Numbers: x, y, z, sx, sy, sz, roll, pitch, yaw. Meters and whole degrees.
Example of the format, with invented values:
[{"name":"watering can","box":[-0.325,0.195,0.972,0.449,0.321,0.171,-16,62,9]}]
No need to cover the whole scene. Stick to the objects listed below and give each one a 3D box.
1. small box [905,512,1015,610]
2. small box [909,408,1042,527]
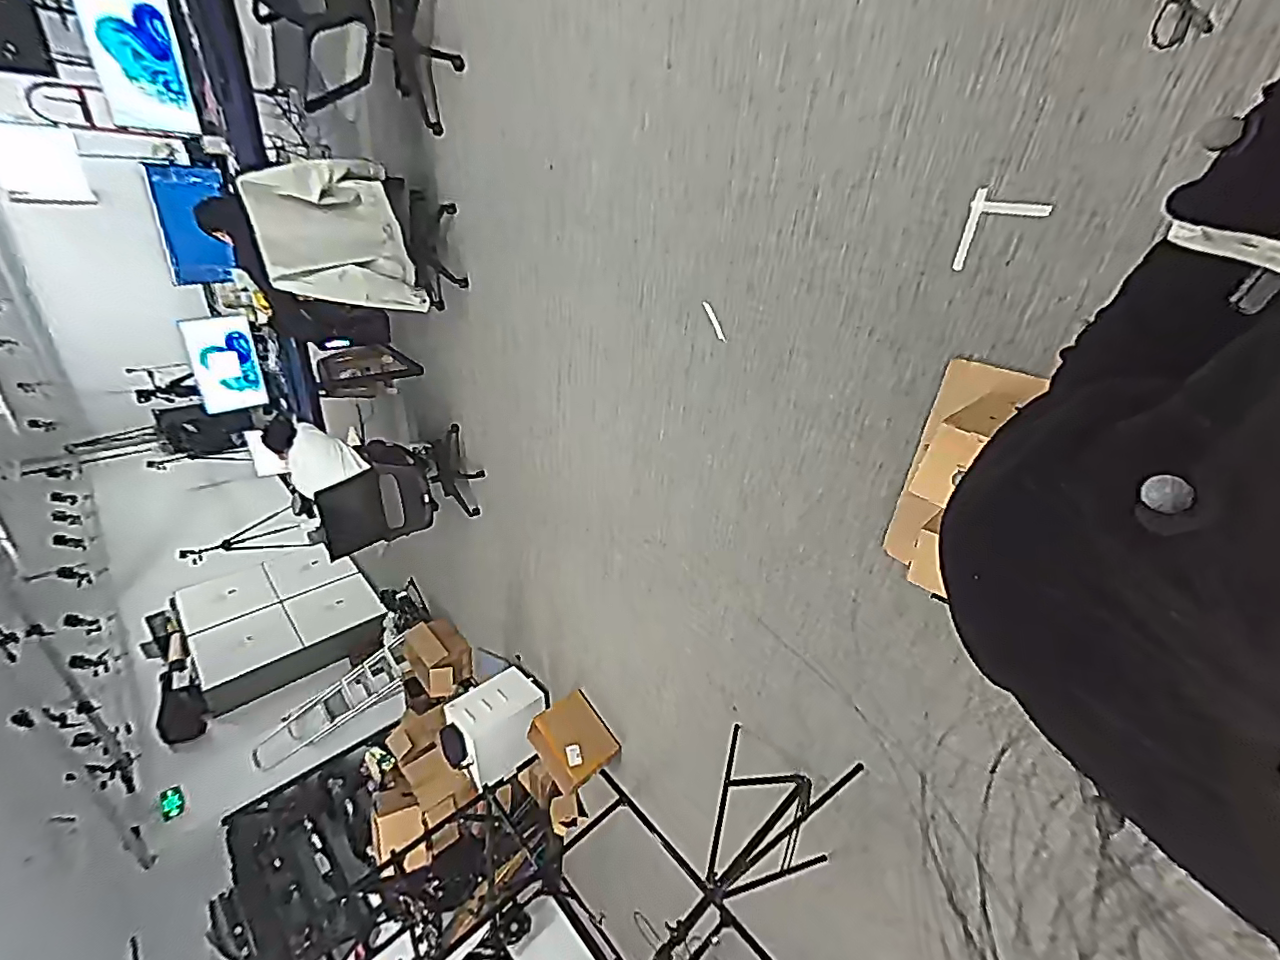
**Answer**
[{"name":"small box","box":[0.826,0.198,1.398,0.179,0.176,0.168,27,127,40]},{"name":"small box","box":[0.718,-0.034,1.156,0.168,0.176,0.179,34,129,35]}]
